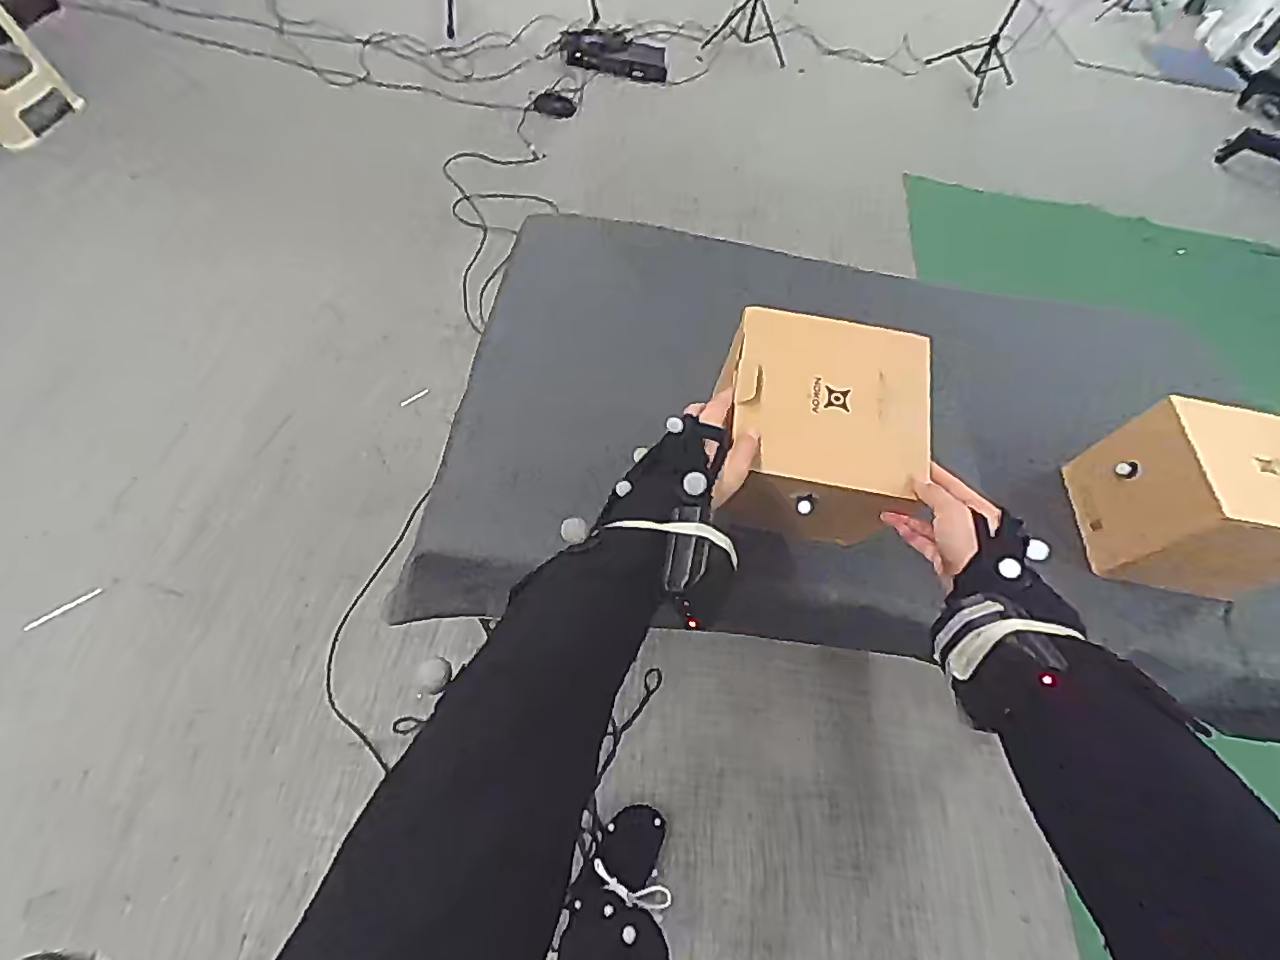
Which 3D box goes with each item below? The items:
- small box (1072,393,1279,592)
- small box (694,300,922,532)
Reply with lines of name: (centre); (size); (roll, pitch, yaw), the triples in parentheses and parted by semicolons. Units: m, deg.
small box: (0.671, 0.023, 0.652); (0.179, 0.176, 0.168); (11, 59, -2)
small box: (0.158, -0.053, 0.552); (0.179, 0.176, 0.168); (10, 72, -1)
